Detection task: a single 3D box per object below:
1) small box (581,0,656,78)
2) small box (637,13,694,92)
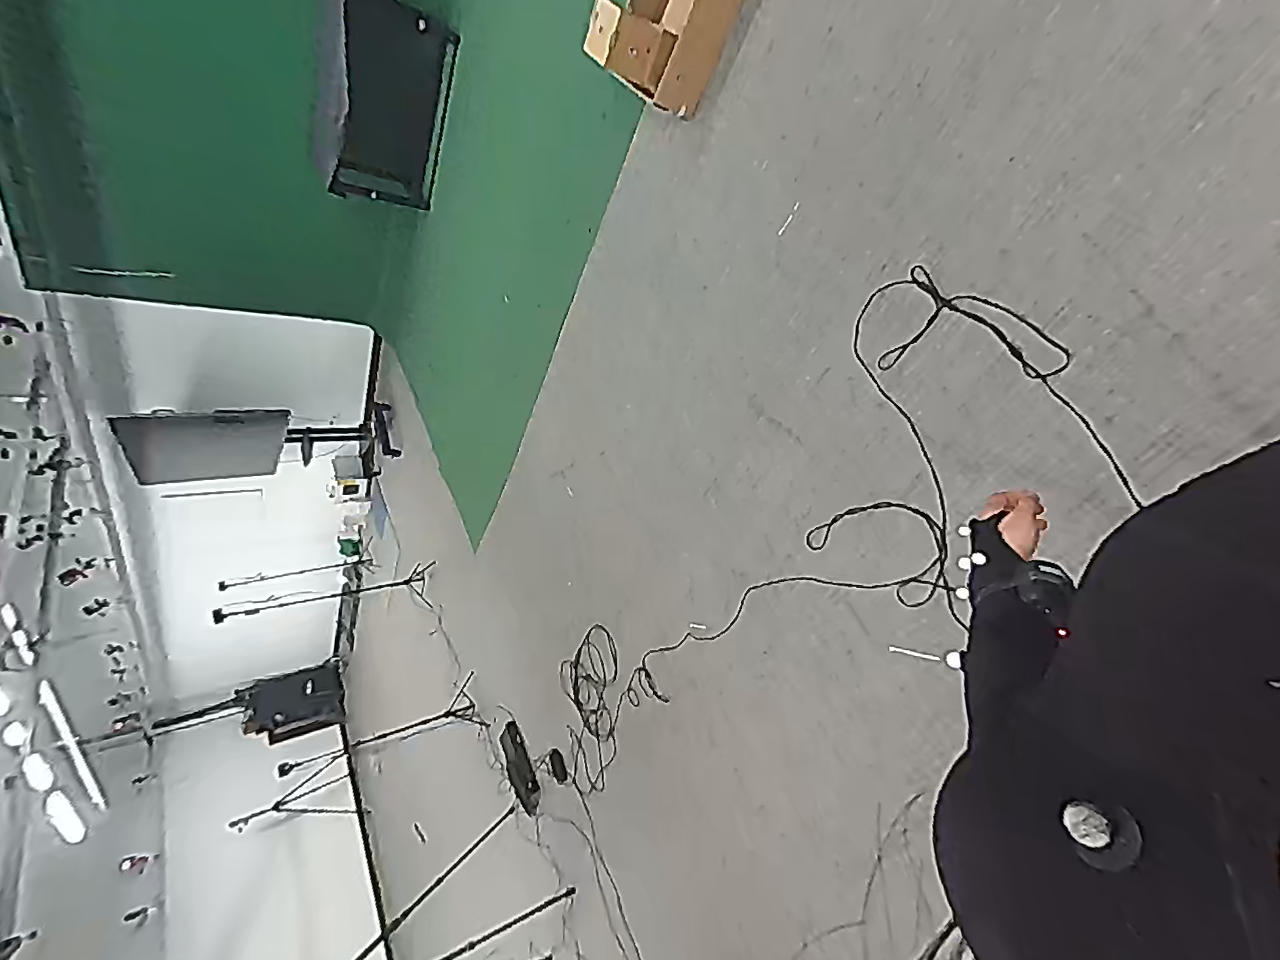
[{"bbox_3d":[-0.073,-1.552,1.893,0.179,0.176,0.168,58,134,28],"label":"small box"},{"bbox_3d":[0.063,-1.563,1.984,0.179,0.176,0.168,53,132,31],"label":"small box"}]
